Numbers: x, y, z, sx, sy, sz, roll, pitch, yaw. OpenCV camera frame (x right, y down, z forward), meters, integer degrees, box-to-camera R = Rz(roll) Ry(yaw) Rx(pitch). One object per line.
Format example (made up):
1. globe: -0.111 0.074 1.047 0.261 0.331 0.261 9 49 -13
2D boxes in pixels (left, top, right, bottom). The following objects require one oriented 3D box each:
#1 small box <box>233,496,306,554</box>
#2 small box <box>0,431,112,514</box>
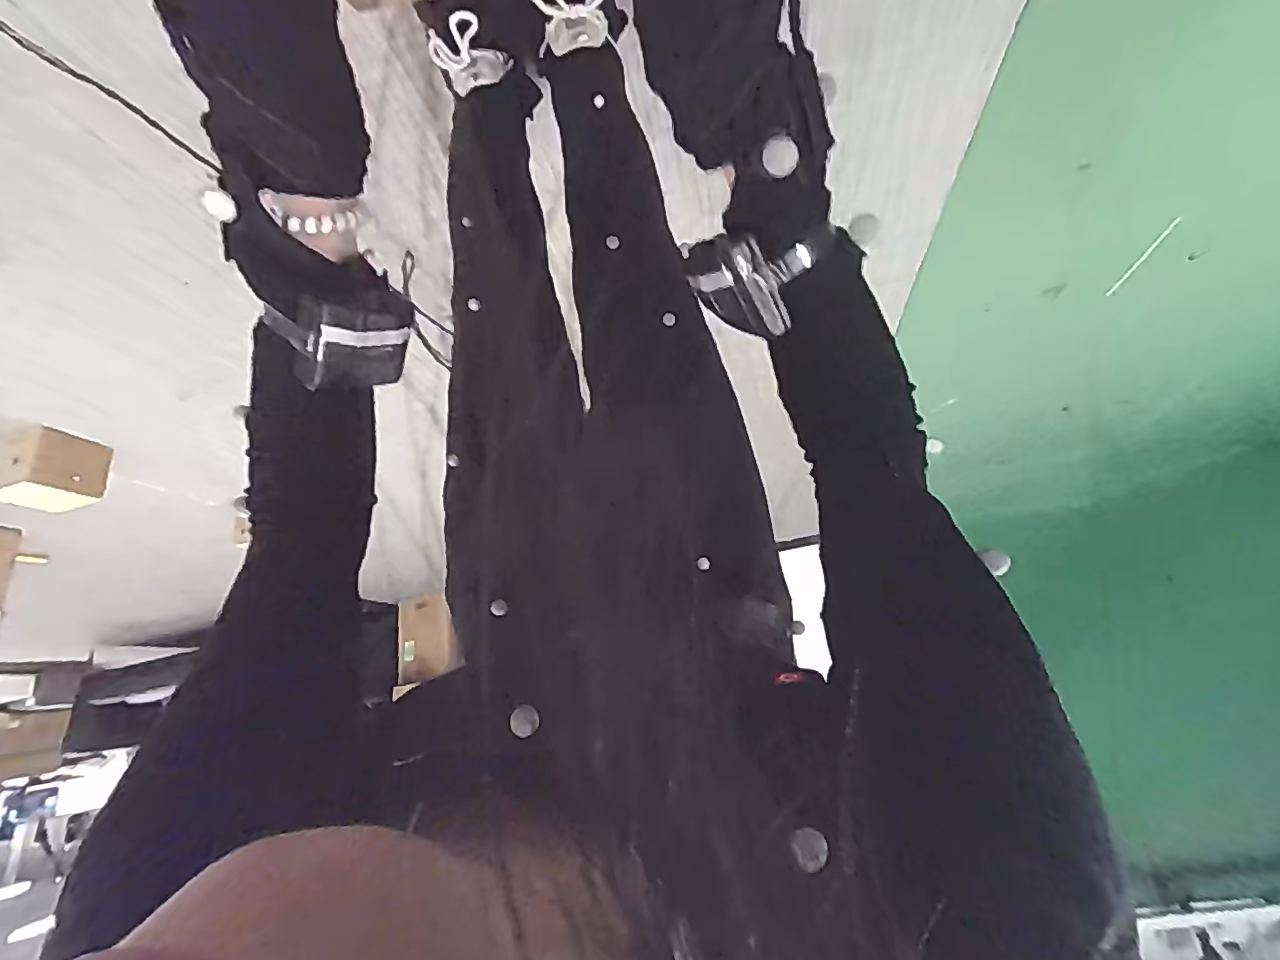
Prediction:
1. small box: -1.449 0.178 2.127 0.179 0.176 0.168 -14 160 10
2. small box: -1.630 -0.023 1.498 0.168 0.176 0.179 -14 160 10
